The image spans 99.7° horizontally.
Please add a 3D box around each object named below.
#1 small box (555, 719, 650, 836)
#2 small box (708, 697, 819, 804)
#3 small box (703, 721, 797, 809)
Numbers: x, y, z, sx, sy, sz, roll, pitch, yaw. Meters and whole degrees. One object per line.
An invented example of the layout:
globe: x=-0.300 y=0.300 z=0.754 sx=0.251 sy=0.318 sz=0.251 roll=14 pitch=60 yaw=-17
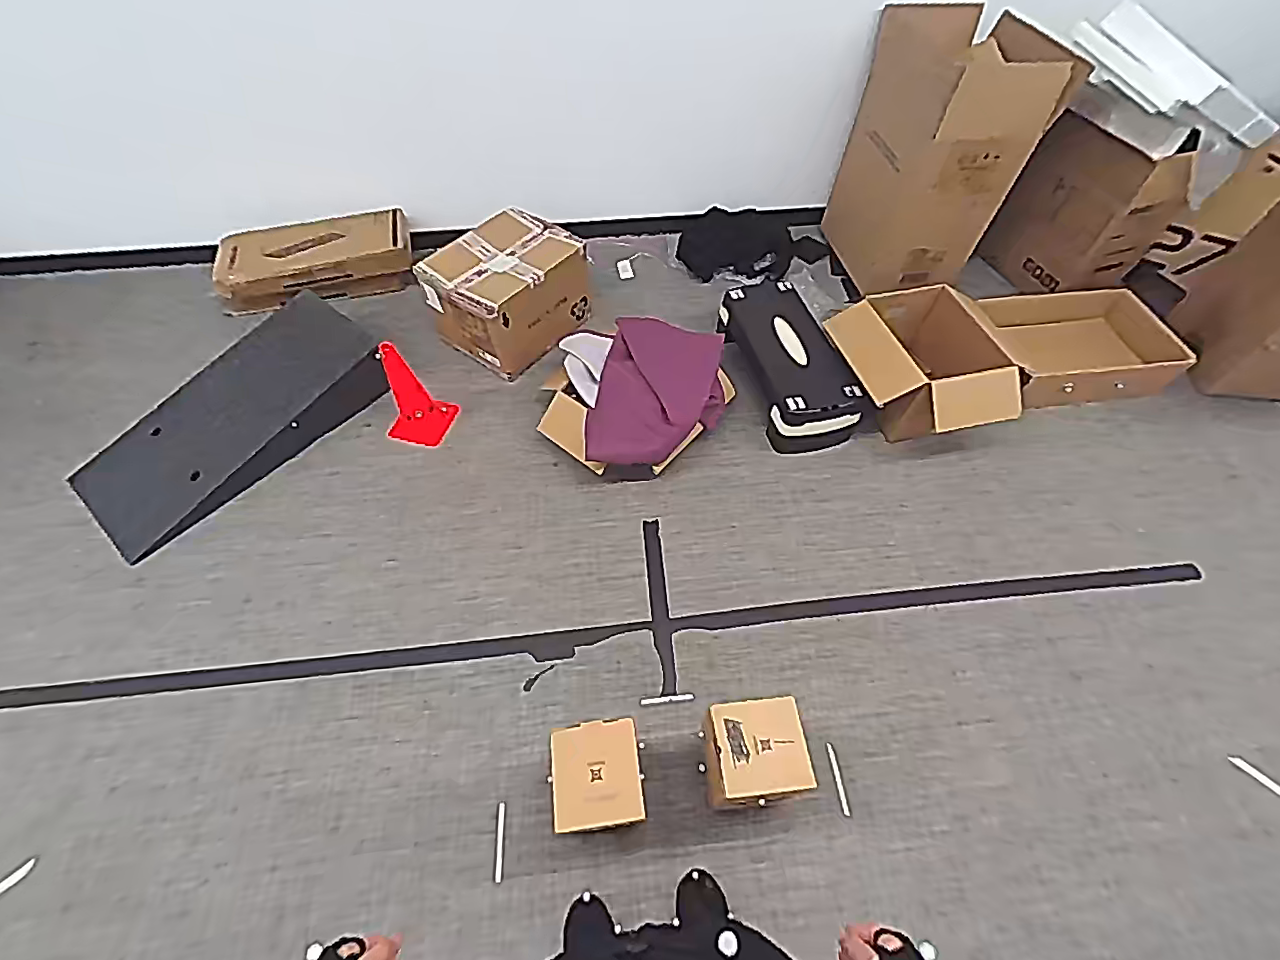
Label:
small box: x=-0.073 y=0.596 z=1.080 sx=0.168 sy=0.176 sz=0.179 roll=-8 pitch=57 yaw=-3
small box: x=0.238 y=0.556 z=1.104 sx=0.179 sy=0.176 sz=0.168 roll=-4 pitch=56 yaw=-4
small box: x=0.243 y=0.648 z=1.240 sx=0.168 sy=0.176 sz=0.179 roll=-3 pitch=57 yaw=-3
